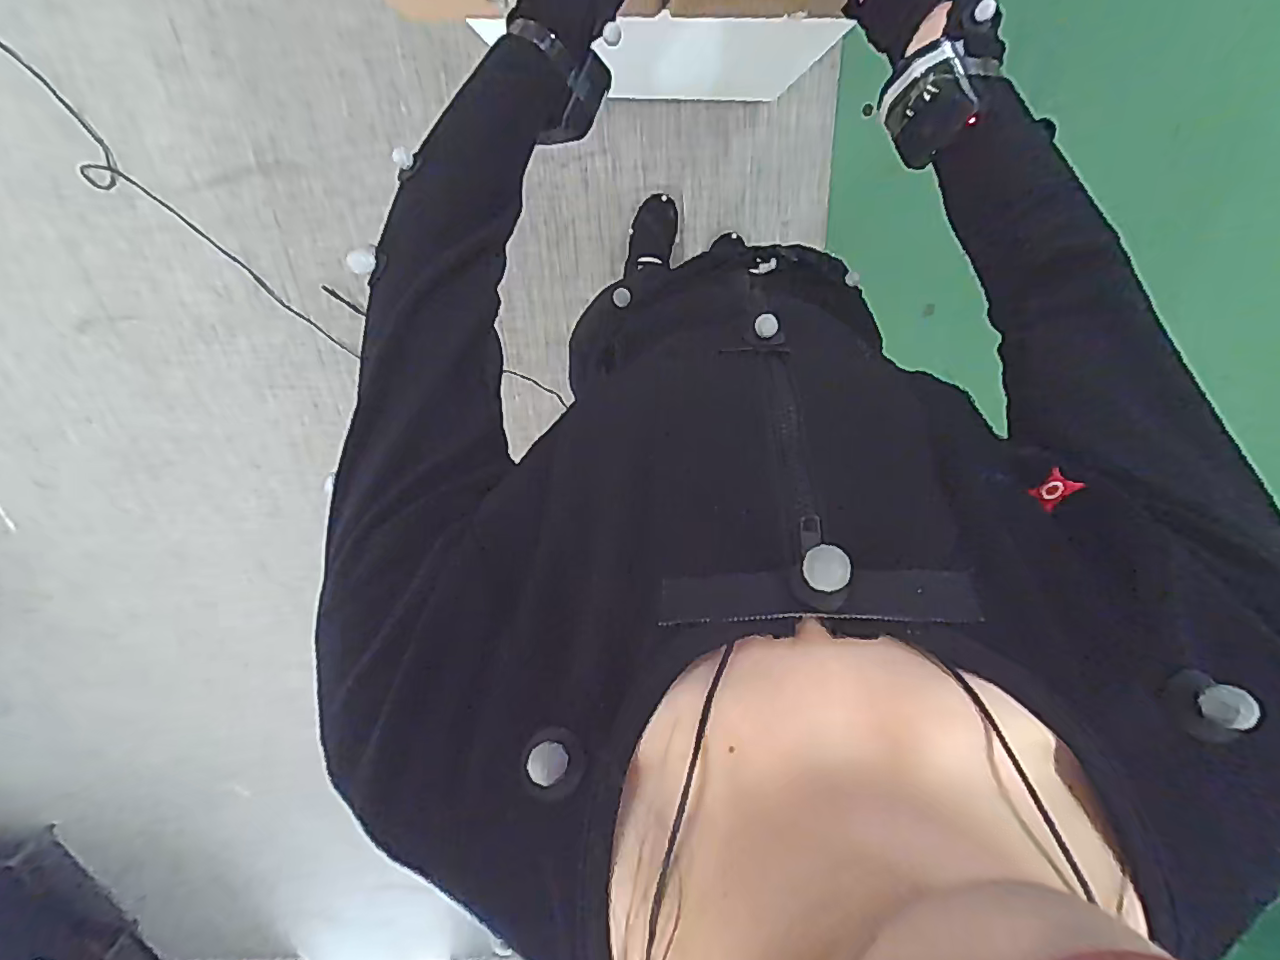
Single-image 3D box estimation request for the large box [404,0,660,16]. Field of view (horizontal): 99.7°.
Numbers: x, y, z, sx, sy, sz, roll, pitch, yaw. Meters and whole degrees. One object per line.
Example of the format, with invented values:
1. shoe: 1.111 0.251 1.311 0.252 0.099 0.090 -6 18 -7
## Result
1. large box: -0.131 -0.688 0.444 0.320 0.320 0.408 0 115 0
